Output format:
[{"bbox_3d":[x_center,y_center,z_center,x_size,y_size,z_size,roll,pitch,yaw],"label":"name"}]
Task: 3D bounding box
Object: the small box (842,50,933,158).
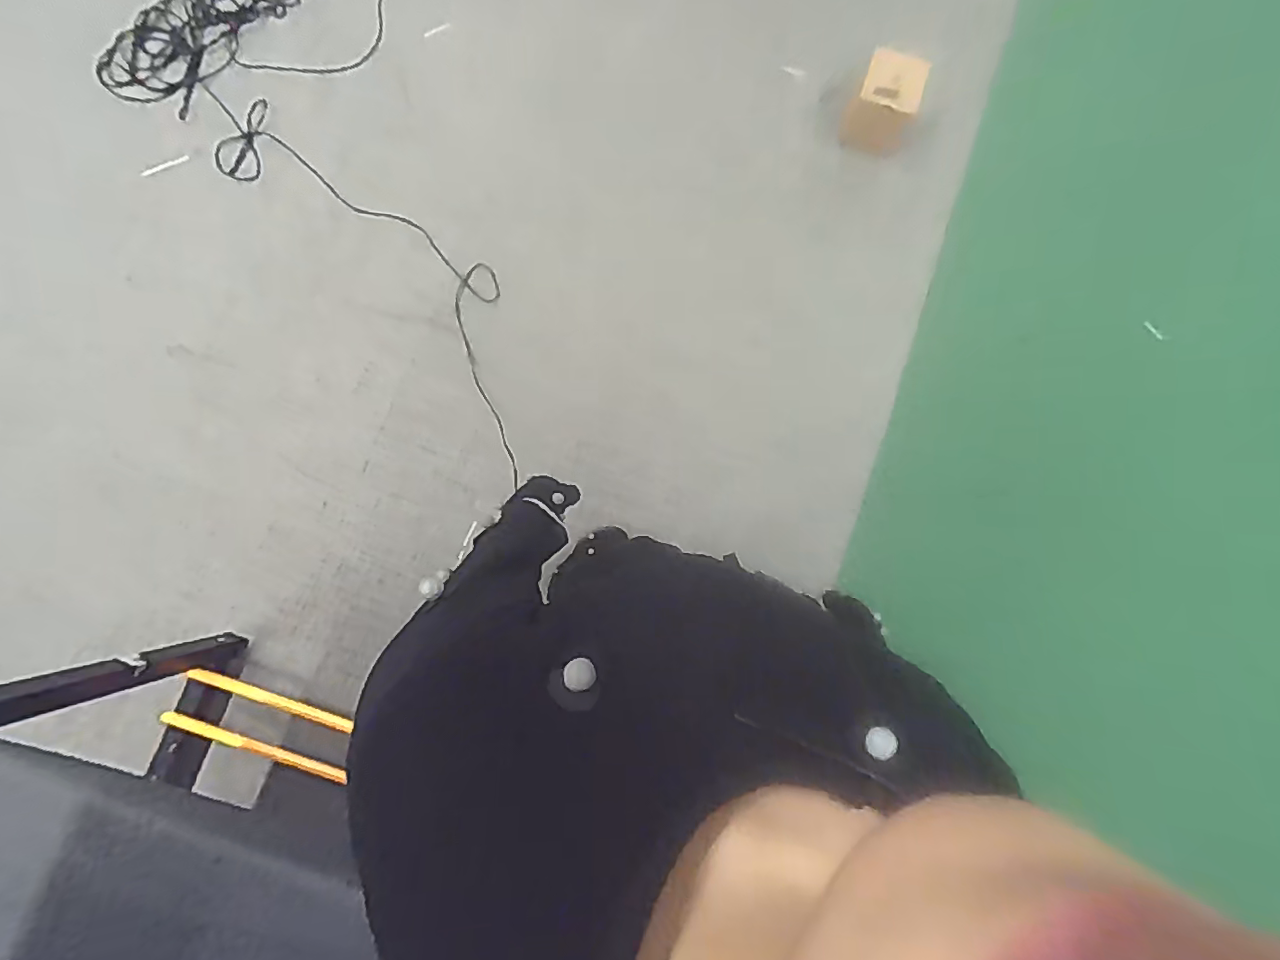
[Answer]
[{"bbox_3d":[0.717,-1.094,1.588,0.168,0.176,0.179,19,82,0],"label":"small box"}]
